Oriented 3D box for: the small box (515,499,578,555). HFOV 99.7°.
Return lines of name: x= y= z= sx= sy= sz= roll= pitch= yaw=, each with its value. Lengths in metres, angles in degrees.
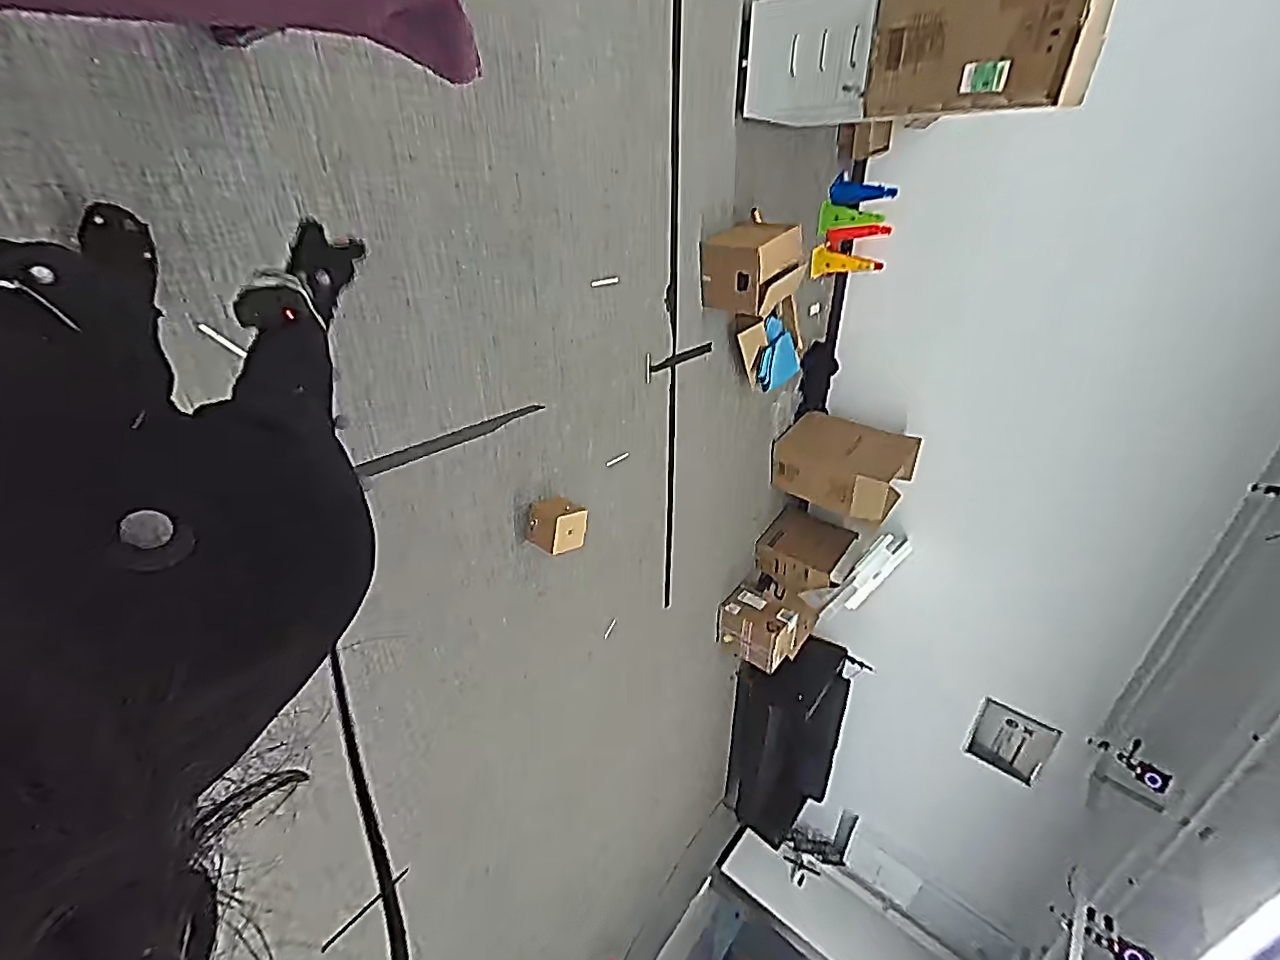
small box: x=-0.384 y=0.186 z=2.214 sx=0.179 sy=0.176 sz=0.168 roll=-11 pitch=116 yaw=-51
